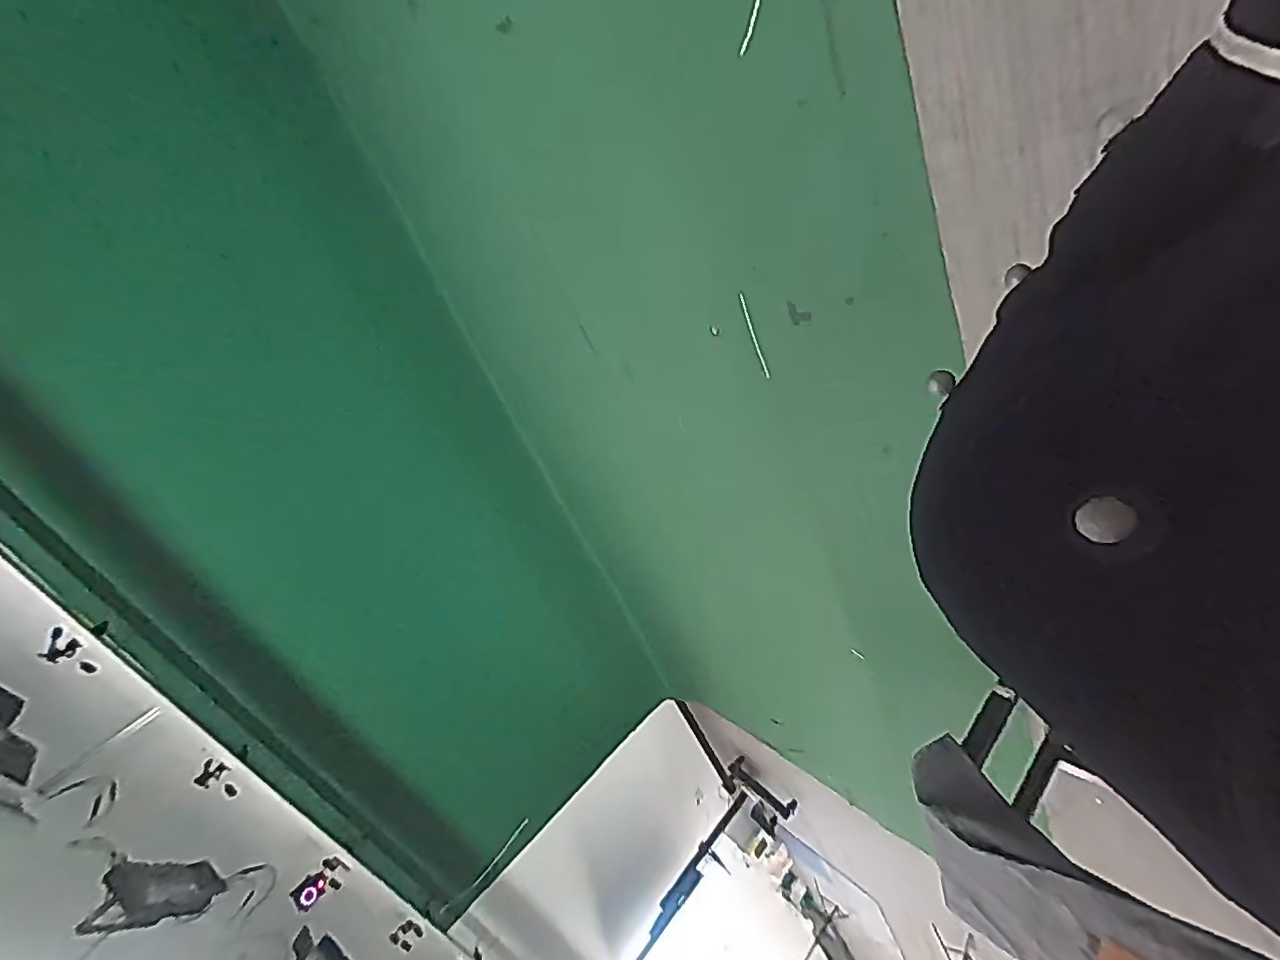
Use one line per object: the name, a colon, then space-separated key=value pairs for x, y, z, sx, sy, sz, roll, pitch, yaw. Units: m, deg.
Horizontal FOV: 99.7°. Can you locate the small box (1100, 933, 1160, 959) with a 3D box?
small box: x=1.004 y=1.056 z=1.061 sx=0.168 sy=0.176 sz=0.179 roll=11 pitch=134 yaw=53
